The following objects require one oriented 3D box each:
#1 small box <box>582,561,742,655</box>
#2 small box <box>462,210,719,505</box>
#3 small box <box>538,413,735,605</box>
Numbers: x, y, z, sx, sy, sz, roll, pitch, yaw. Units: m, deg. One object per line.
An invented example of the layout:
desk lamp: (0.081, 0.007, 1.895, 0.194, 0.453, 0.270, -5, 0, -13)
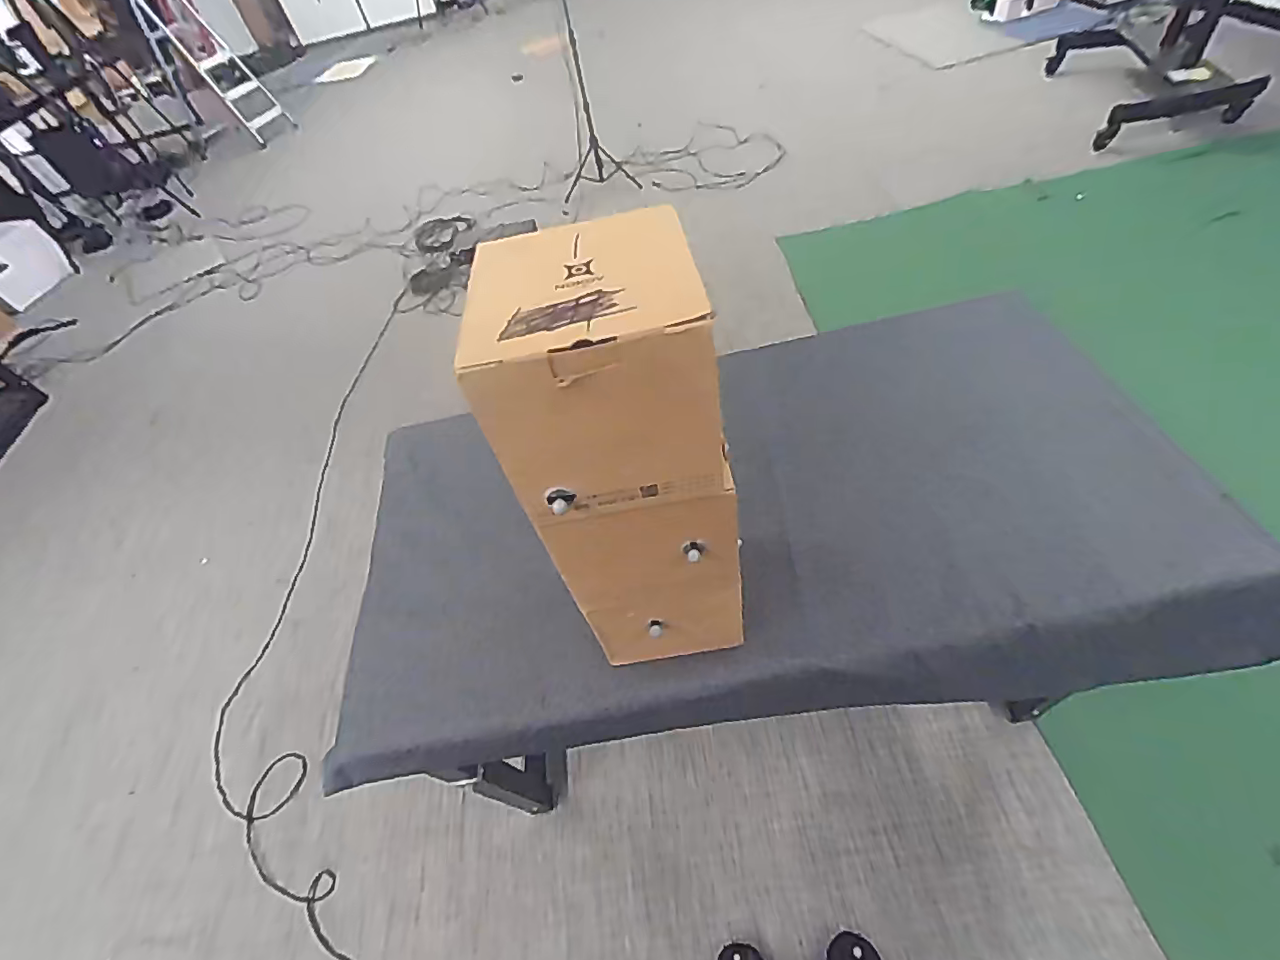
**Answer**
small box: (0.029, 0.112, 0.704, 0.179, 0.176, 0.168, -11, 50, 4)
small box: (-0.030, -0.094, 0.458, 0.168, 0.176, 0.179, -10, 48, 3)
small box: (0.002, 0.014, 0.578, 0.179, 0.176, 0.168, -11, 48, 4)
